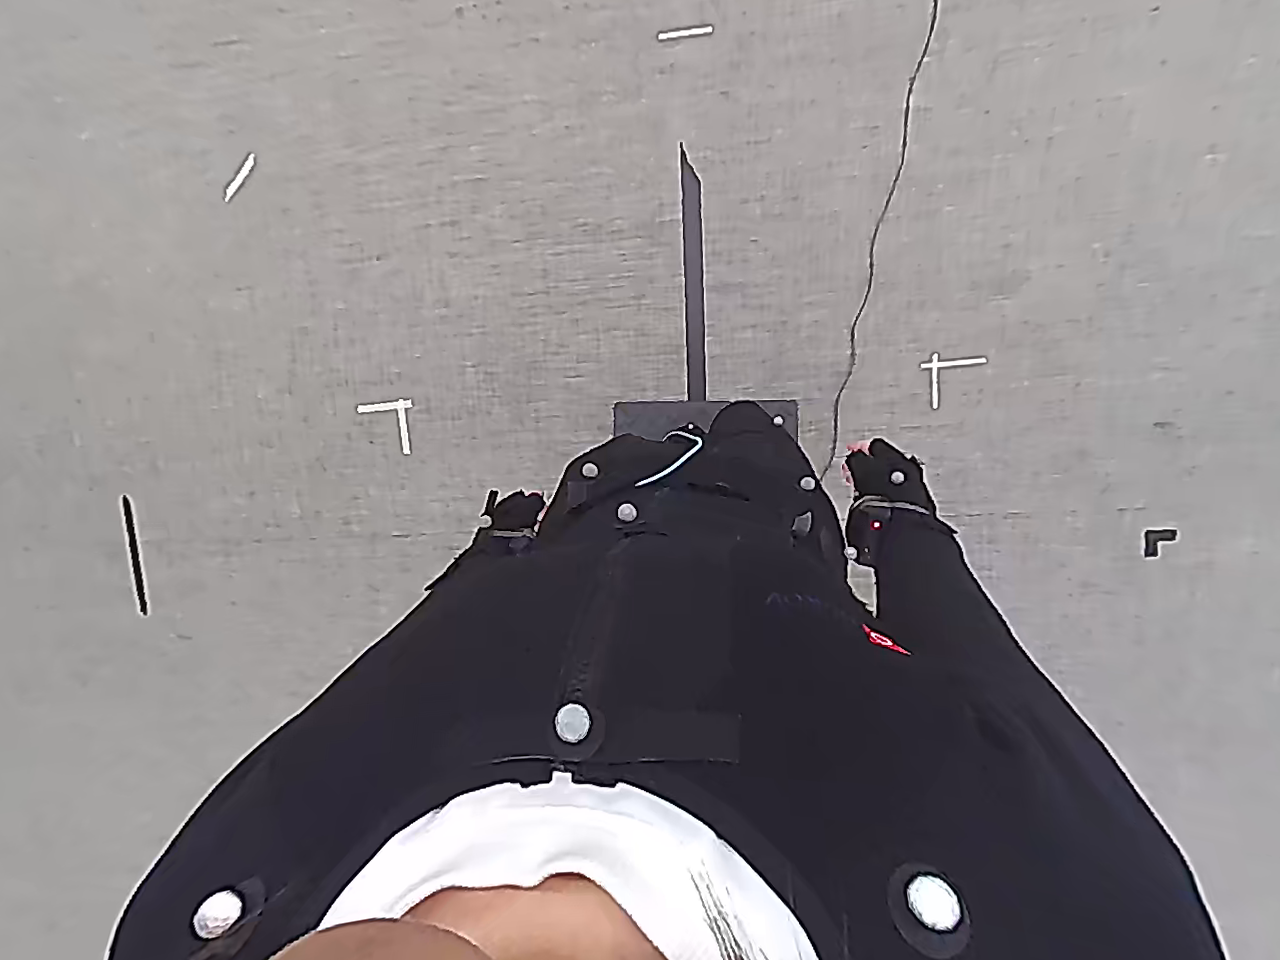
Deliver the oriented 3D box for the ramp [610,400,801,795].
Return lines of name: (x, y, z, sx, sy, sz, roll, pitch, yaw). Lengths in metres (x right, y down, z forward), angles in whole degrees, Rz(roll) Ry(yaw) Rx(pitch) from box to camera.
ramp: (0.166, 0.286, 1.419, 0.509, 0.206, 0.991, -1, 95, 9)
